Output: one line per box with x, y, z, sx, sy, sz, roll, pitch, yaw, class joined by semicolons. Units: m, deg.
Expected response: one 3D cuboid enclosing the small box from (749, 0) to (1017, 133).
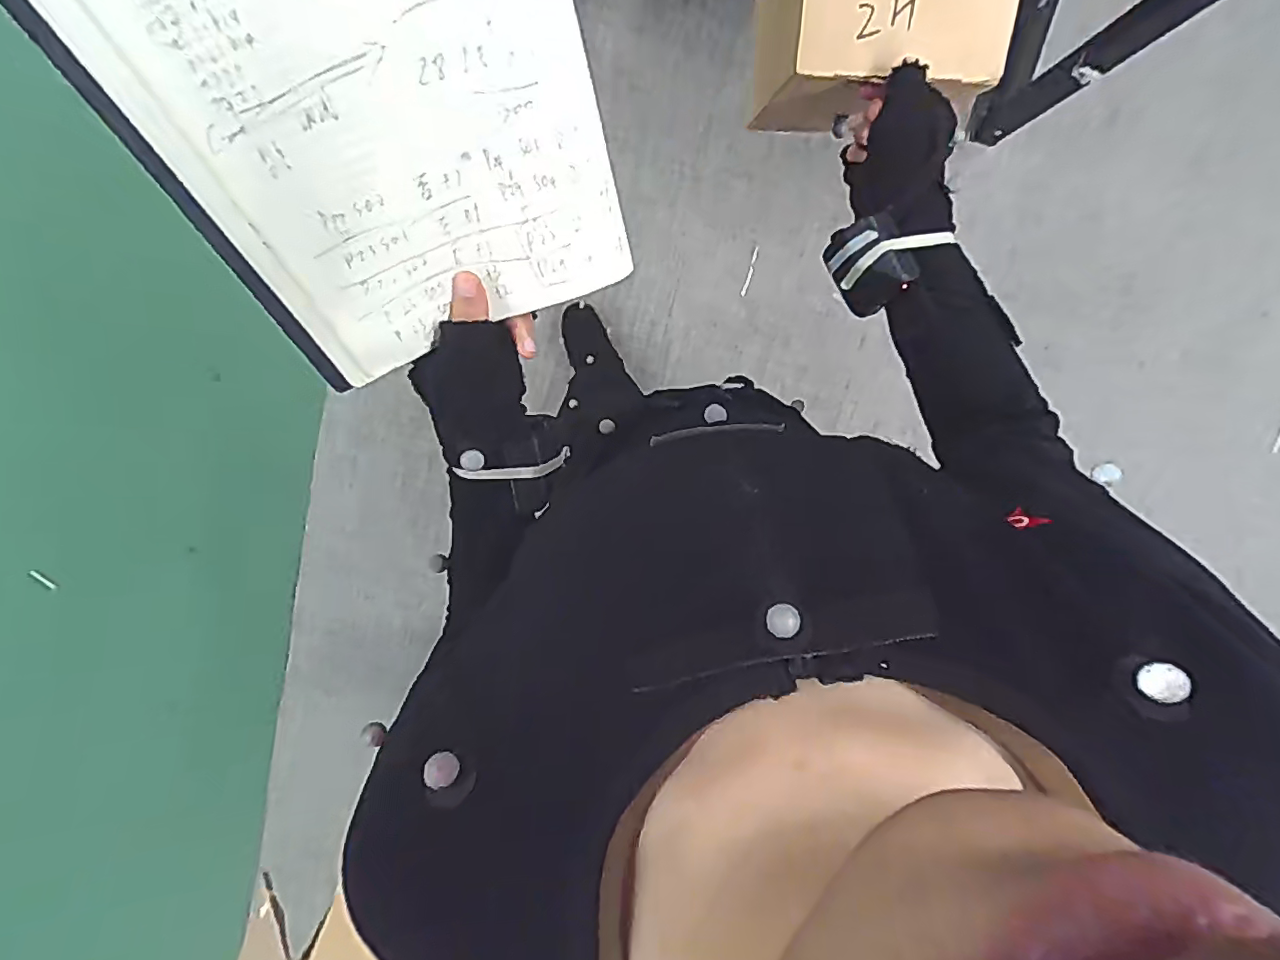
0.197;-0.424;0.463;0.168;0.176;0.179;0;110;-3;small box
